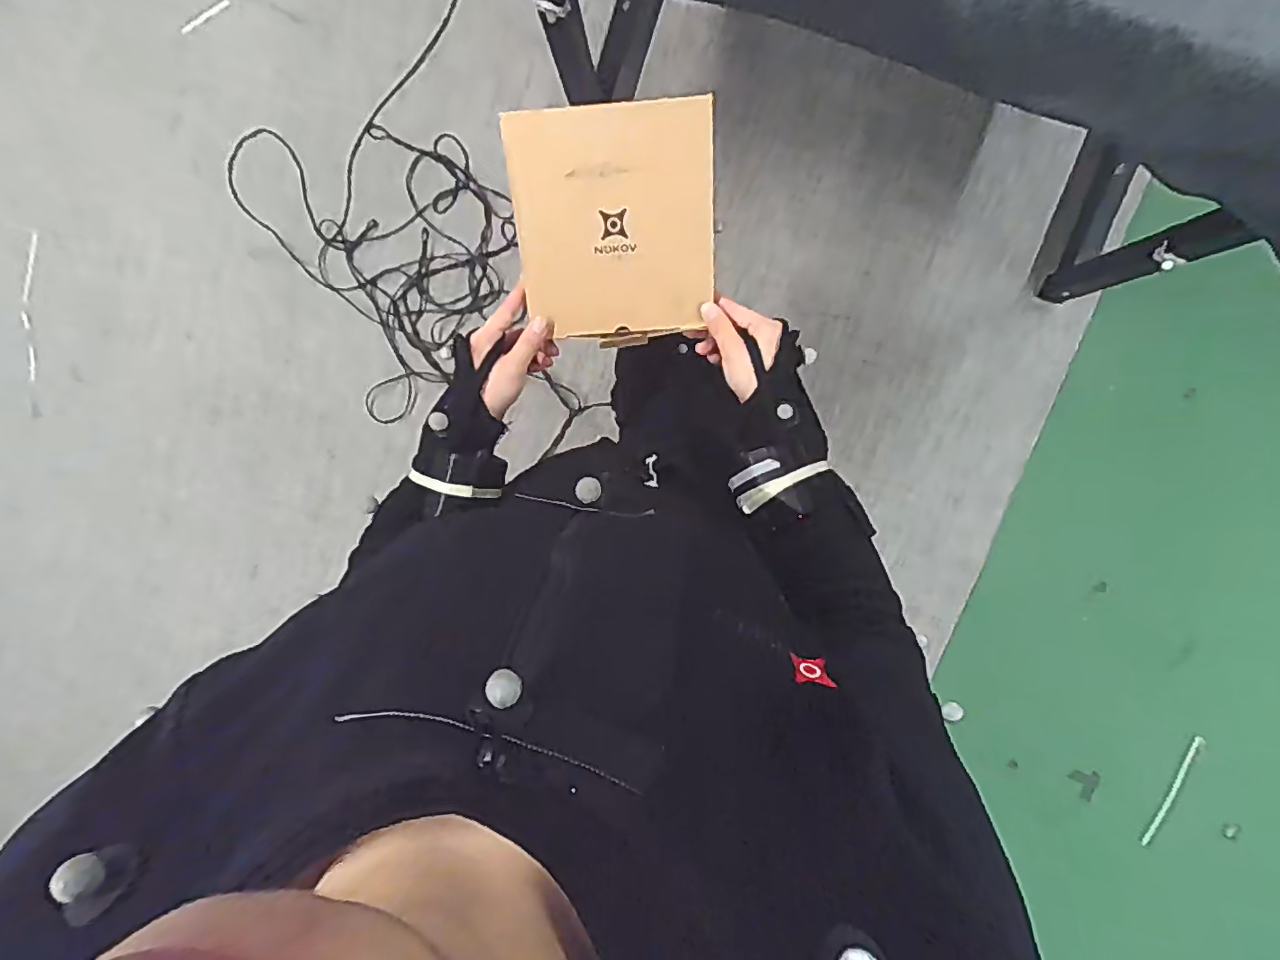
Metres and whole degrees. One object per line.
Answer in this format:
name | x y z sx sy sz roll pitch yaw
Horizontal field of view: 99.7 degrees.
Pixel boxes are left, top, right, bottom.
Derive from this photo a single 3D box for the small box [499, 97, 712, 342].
small box | -0.022 -0.241 0.517 0.168 0.176 0.179 -4 116 1
